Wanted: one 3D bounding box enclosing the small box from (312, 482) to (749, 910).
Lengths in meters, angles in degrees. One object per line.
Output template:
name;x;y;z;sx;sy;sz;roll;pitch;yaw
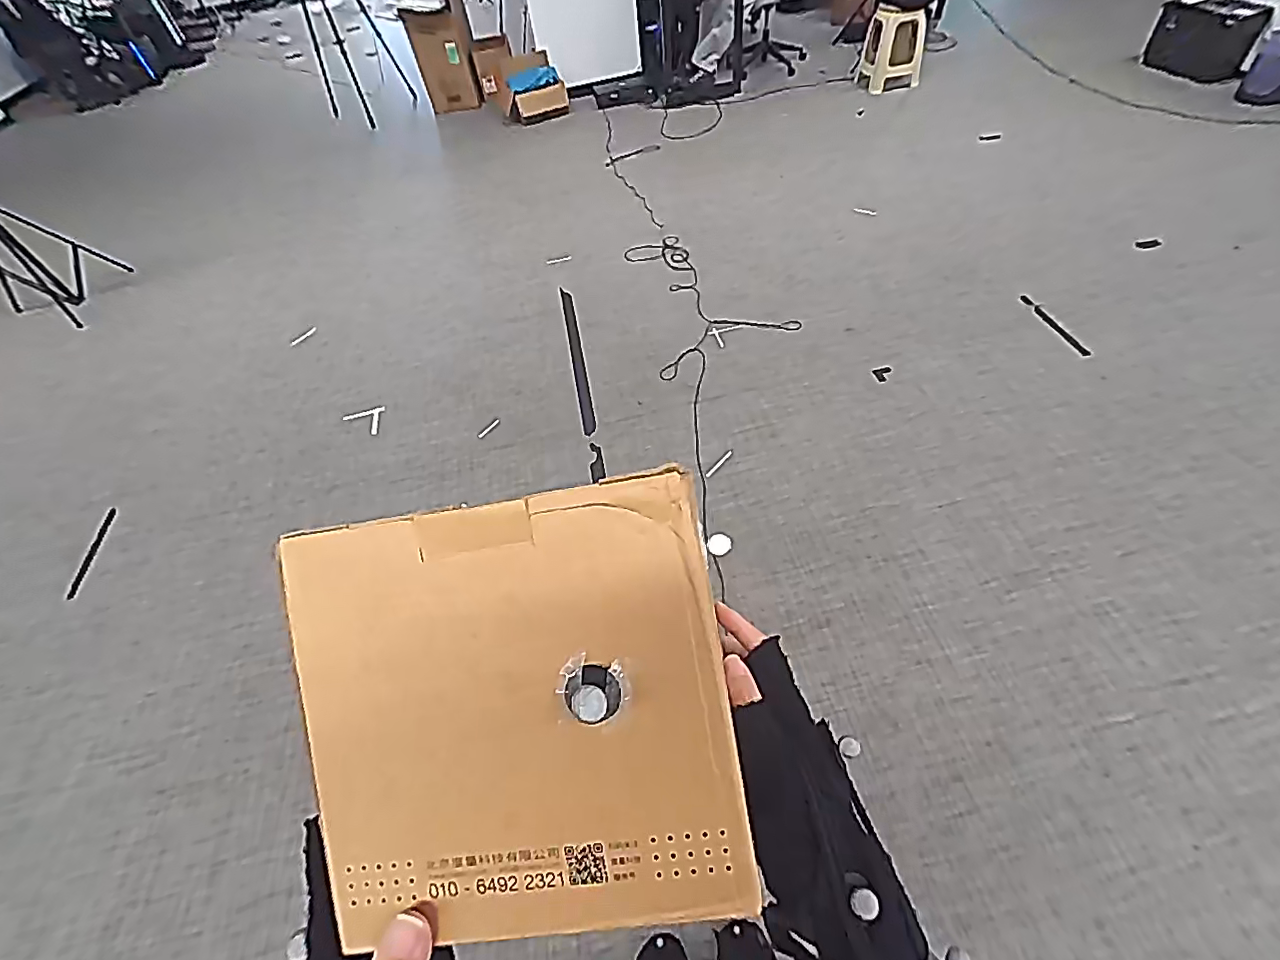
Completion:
small box;-0.037;0.100;0.304;0.168;0.179;0.176;-10;89;7
